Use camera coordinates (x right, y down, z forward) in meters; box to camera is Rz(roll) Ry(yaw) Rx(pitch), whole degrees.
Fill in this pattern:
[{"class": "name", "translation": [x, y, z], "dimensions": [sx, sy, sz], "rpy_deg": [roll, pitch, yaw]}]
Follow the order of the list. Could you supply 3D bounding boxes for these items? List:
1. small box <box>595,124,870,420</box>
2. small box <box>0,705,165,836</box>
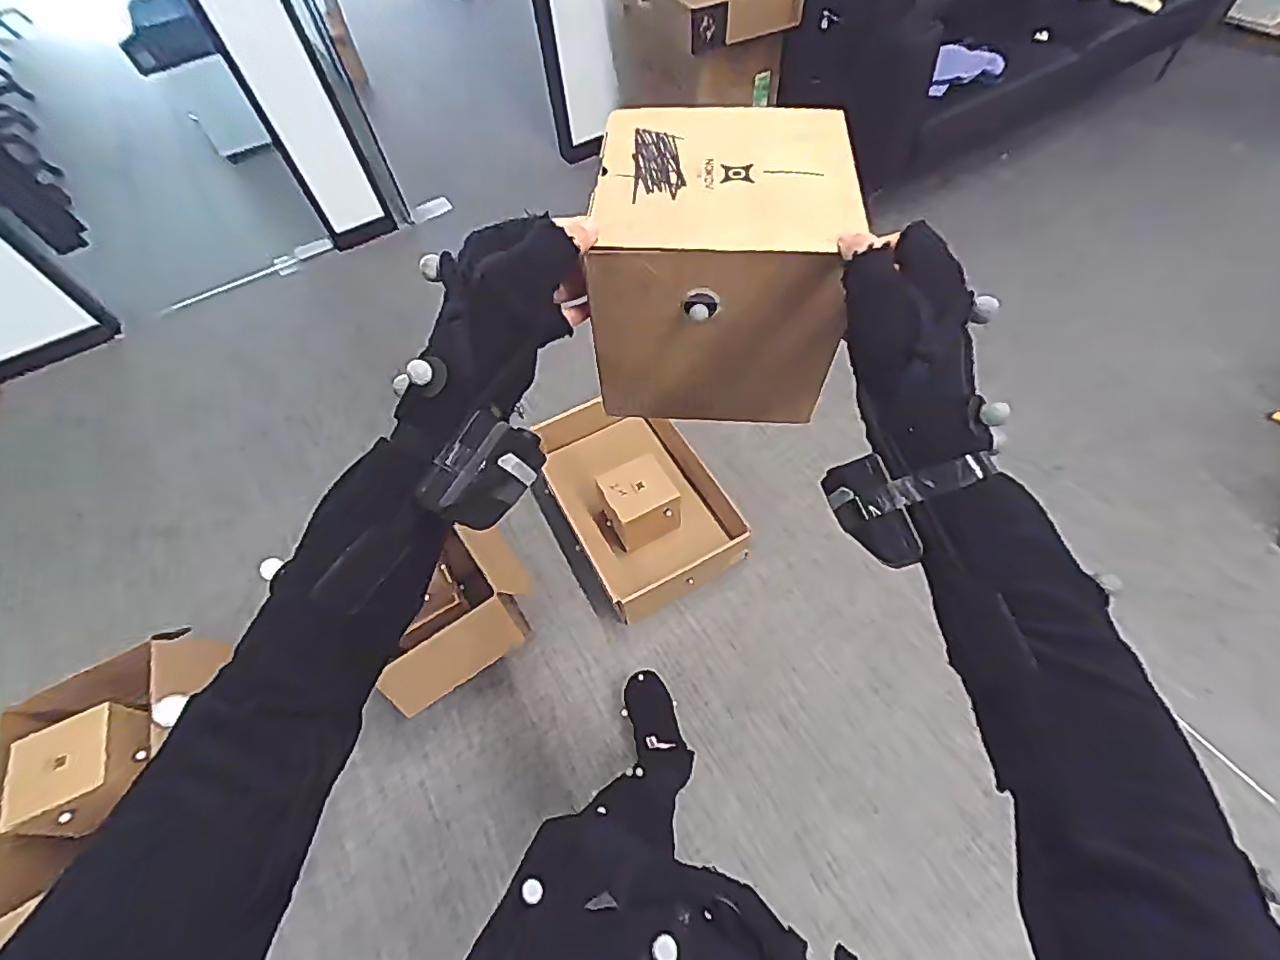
[{"class": "small box", "translation": [0.065, -0.164, 0.449], "dimensions": [0.179, 0.176, 0.168], "rpy_deg": [3, 59, 3]}, {"class": "small box", "translation": [-1.102, 0.582, 1.082], "dimensions": [0.179, 0.176, 0.168], "rpy_deg": [-24, 58, -13]}]
